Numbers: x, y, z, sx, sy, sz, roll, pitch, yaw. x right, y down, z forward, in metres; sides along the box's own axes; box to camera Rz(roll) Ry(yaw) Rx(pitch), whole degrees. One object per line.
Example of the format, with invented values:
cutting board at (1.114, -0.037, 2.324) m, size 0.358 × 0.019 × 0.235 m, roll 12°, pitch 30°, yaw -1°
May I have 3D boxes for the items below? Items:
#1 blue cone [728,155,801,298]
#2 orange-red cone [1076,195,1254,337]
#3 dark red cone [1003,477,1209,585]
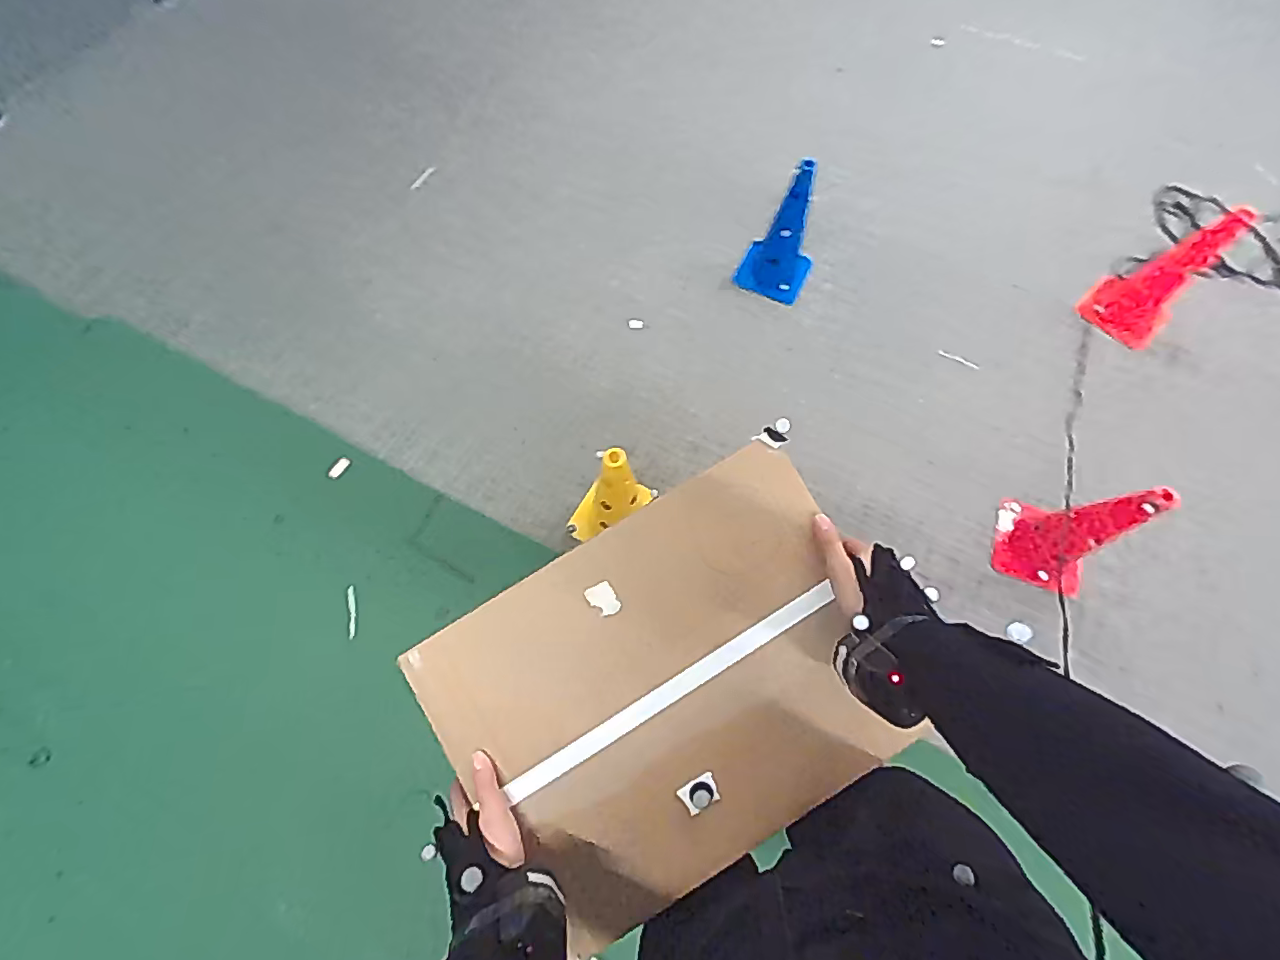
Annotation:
blue cone at (0.377, -0.703, 1.484) m, size 0.192 × 0.380 × 0.193 m, roll 25°, pitch 70°, yaw 11°
orange-red cone at (1.395, -0.579, 1.406) m, size 0.198 × 0.360 × 0.199 m, roll -41°, pitch 74°, yaw -14°
dark red cone at (0.961, 0.073, 1.115) m, size 0.202 × 0.394 × 0.201 m, roll 18°, pitch 72°, yaw 8°
